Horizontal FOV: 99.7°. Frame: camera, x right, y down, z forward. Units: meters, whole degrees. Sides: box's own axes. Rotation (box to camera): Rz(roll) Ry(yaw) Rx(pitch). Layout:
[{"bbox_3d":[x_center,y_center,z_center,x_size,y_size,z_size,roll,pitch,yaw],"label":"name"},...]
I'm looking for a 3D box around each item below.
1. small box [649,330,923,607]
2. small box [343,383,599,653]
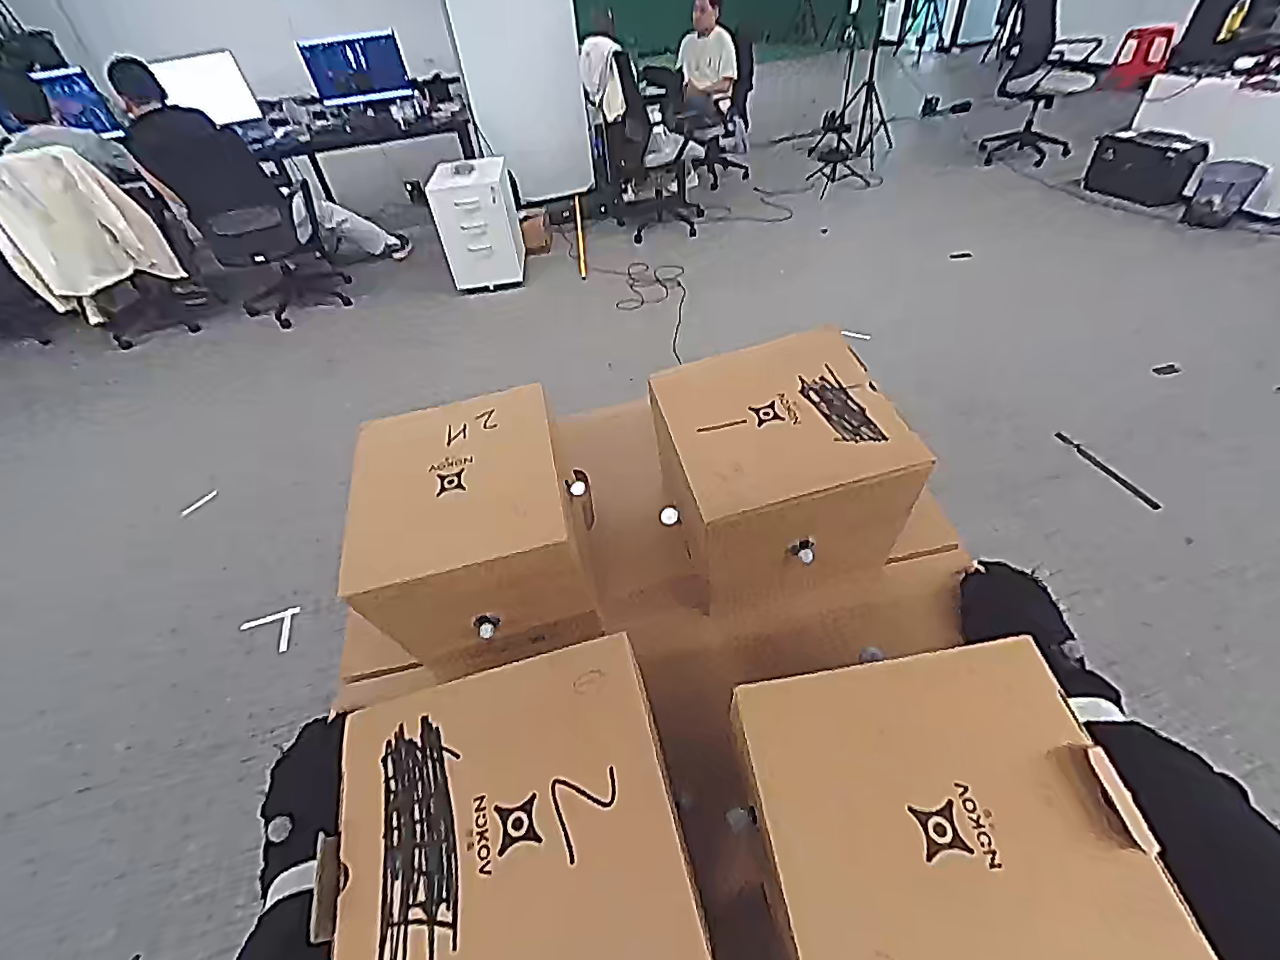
[{"bbox_3d":[0.116,-0.005,0.499,0.179,0.176,0.168,-14,53,-2],"label":"small box"},{"bbox_3d":[-0.140,0.044,0.500,0.168,0.176,0.179,-13,52,-2],"label":"small box"}]
